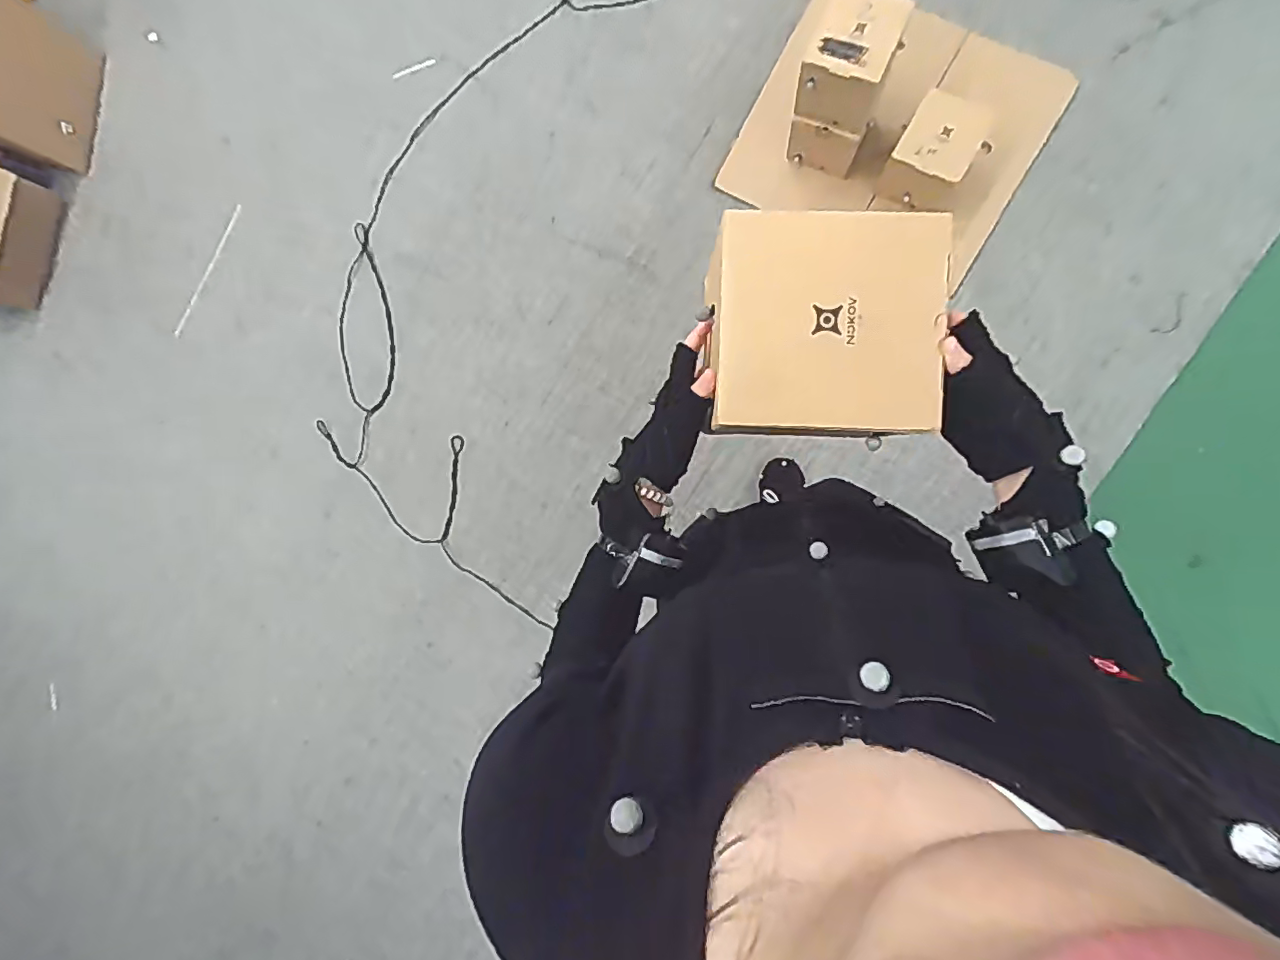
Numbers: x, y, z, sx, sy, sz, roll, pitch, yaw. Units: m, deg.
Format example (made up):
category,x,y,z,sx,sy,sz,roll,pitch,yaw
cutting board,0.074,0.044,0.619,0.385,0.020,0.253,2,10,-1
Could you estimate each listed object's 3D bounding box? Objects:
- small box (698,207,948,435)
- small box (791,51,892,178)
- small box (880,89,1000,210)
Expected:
category,x,y,z,sx,sy,sz,roll,pitch,yaw
small box,0.146,-0.127,0.492,0.179,0.176,0.168,1,93,1
small box,0.485,-0.888,1.333,0.168,0.176,0.179,26,94,9
small box,0.705,-0.772,1.298,0.168,0.176,0.179,30,96,9
